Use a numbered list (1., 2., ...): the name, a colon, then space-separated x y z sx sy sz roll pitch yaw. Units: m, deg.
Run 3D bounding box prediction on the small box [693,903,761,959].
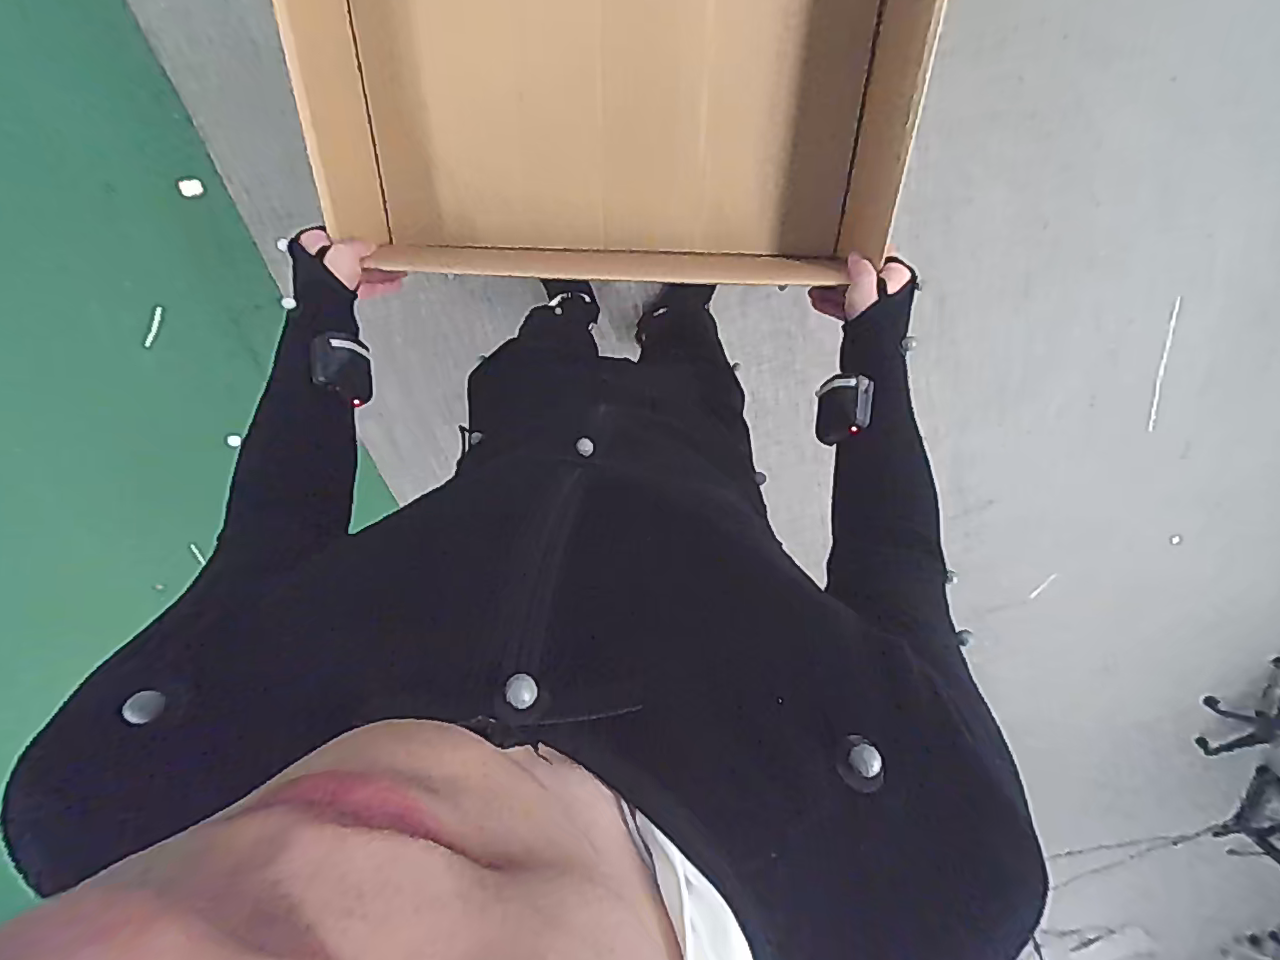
1. small box: 0.268 1.403 1.604 0.168 0.176 0.179 -17 119 1
